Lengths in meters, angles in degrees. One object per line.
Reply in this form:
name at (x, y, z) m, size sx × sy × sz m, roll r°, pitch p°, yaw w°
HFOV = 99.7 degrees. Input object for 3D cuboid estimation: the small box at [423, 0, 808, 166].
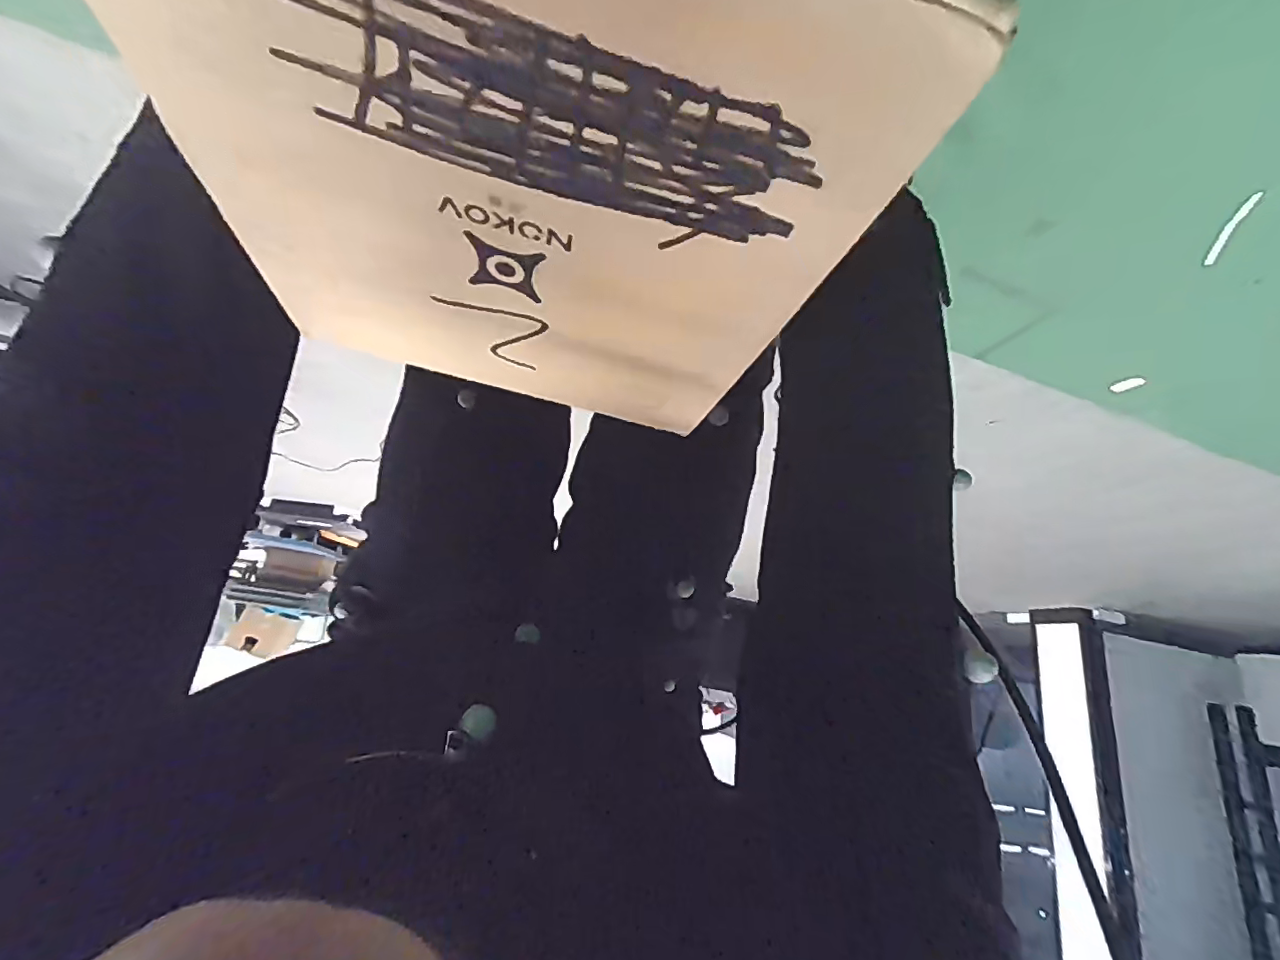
small box at (0.007, -0.293, 0.235) m, size 0.168 × 0.176 × 0.179 m, roll 14°, pitch 159°, yaw -11°
